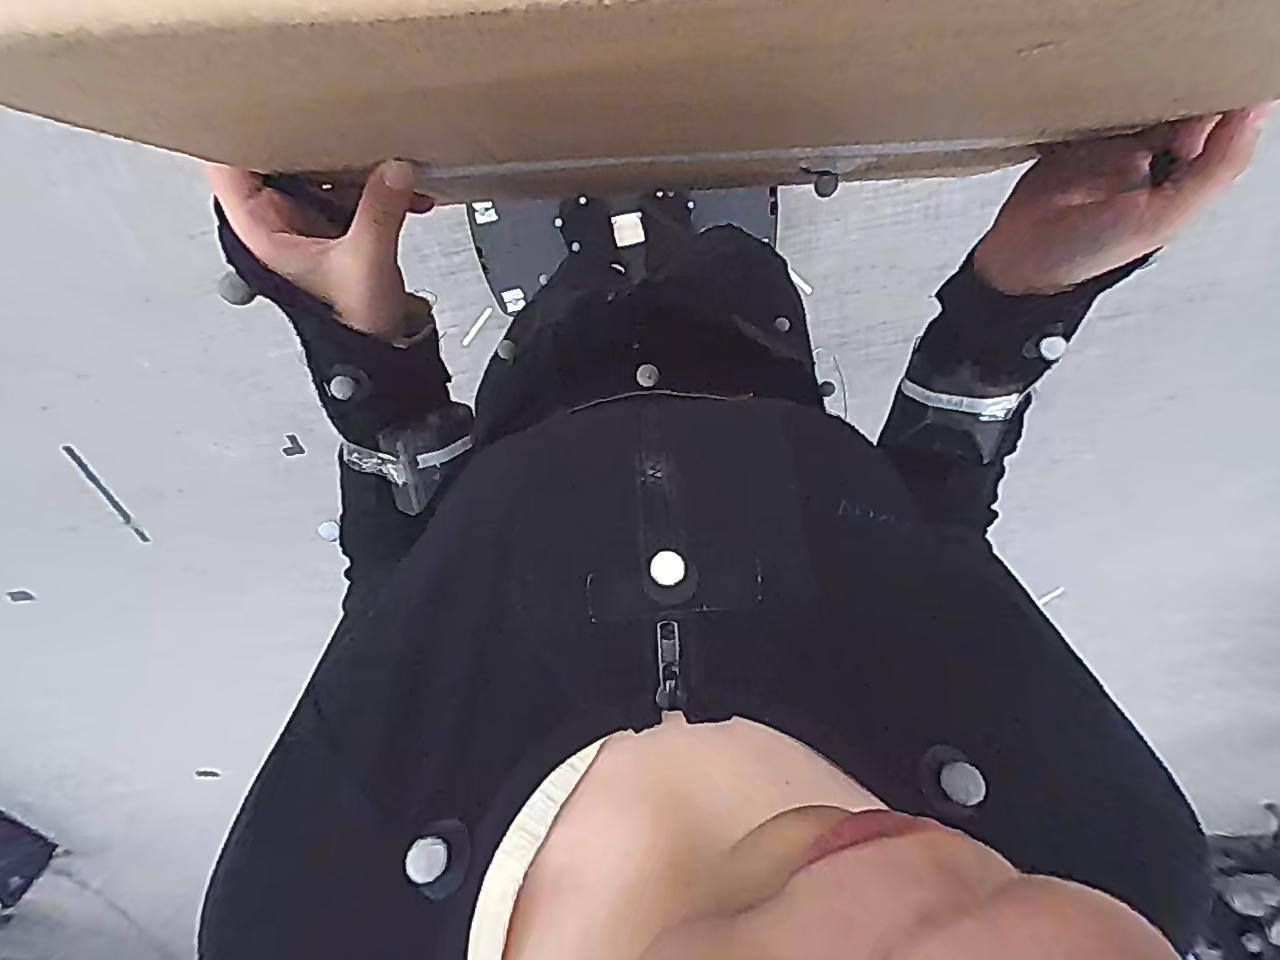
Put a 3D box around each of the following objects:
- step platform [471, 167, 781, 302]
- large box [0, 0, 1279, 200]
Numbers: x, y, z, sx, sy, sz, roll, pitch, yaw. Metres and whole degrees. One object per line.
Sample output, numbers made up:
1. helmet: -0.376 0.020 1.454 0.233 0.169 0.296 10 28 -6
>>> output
1. step platform: -0.029 -0.599 1.239 0.684 0.204 0.286 -6 124 4
2. large box: 0.013 -0.300 0.188 0.408 0.320 0.320 -4 113 1
